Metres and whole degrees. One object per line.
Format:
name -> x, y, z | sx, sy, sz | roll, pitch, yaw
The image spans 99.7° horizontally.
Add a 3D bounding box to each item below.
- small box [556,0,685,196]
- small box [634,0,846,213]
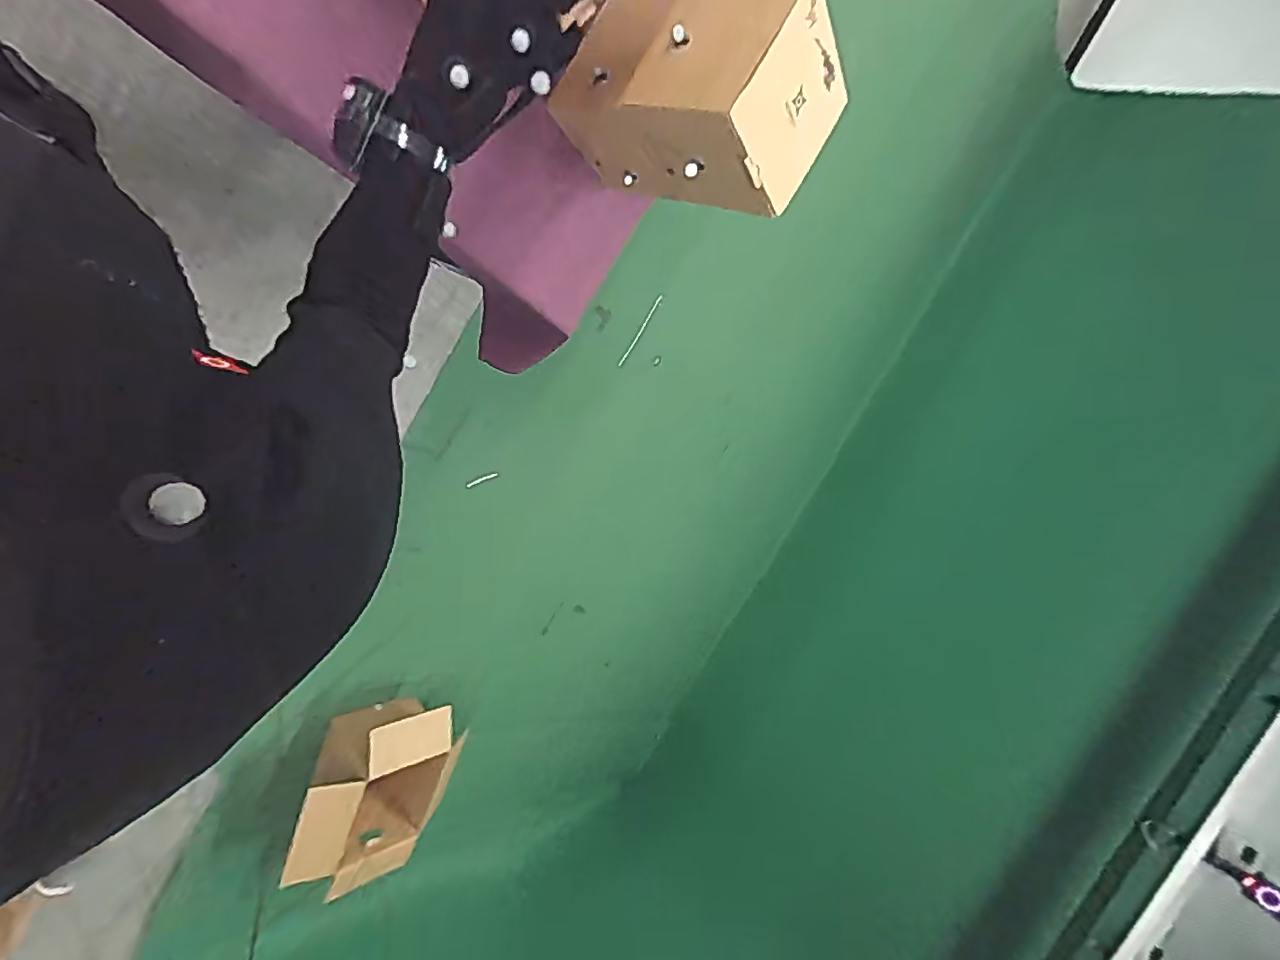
small box -> 0.008, -0.540, 0.761 | 0.179, 0.176, 0.168 | -58, 145, 1
small box -> 0.117, -0.468, 0.662 | 0.179, 0.176, 0.168 | -58, 146, 2
